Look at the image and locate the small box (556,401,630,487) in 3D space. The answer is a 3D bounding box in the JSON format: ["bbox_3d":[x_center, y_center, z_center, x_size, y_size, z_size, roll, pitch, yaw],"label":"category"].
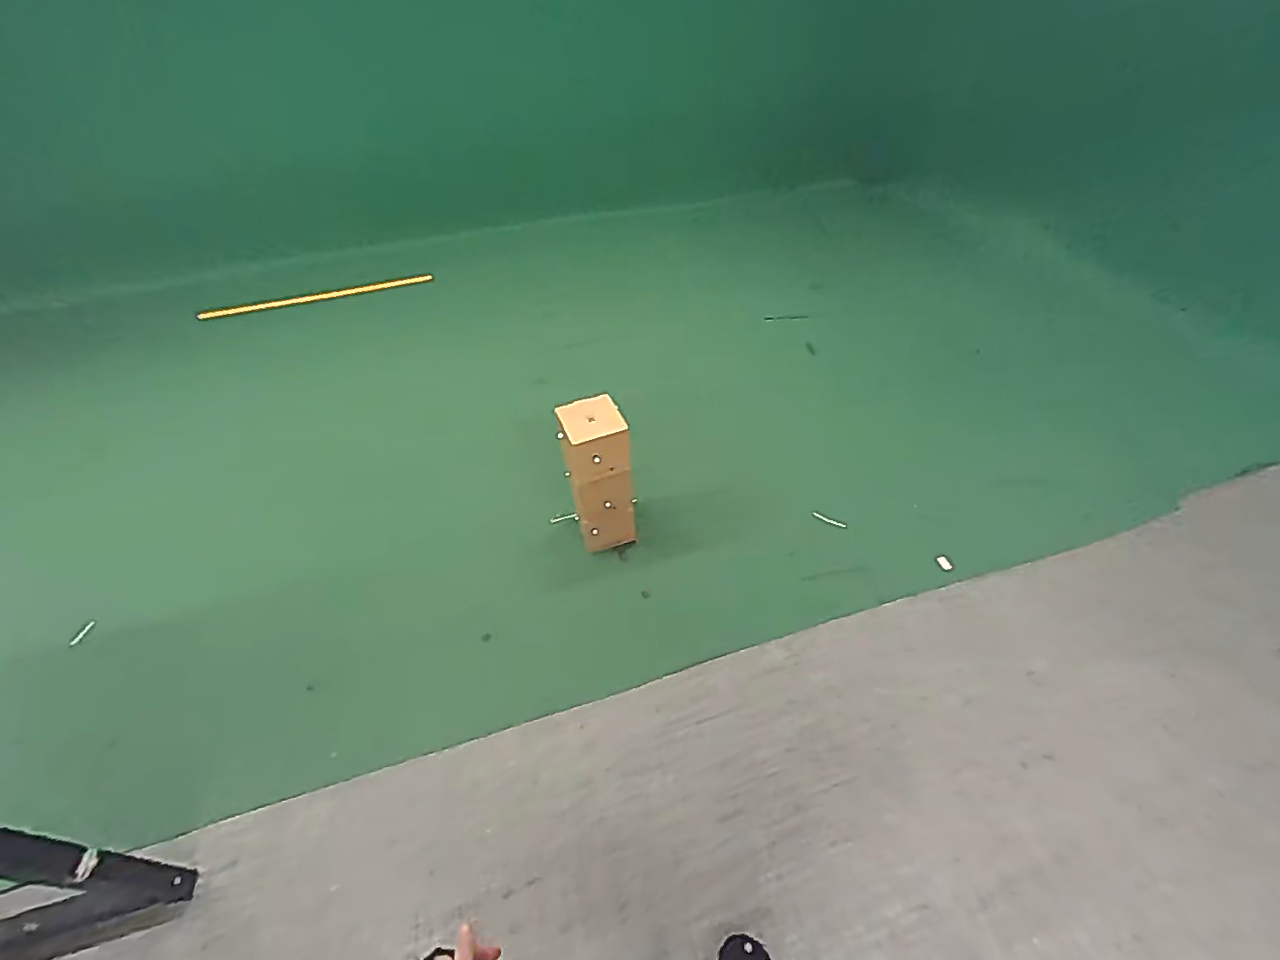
[{"bbox_3d":[-0.135,-0.098,1.590,0.168,0.176,0.179,-18,47,-14],"label":"small box"}]

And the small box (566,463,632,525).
[{"bbox_3d":[-0.131,0.012,1.709,0.168,0.176,0.179,-16,48,-12],"label":"small box"}]
